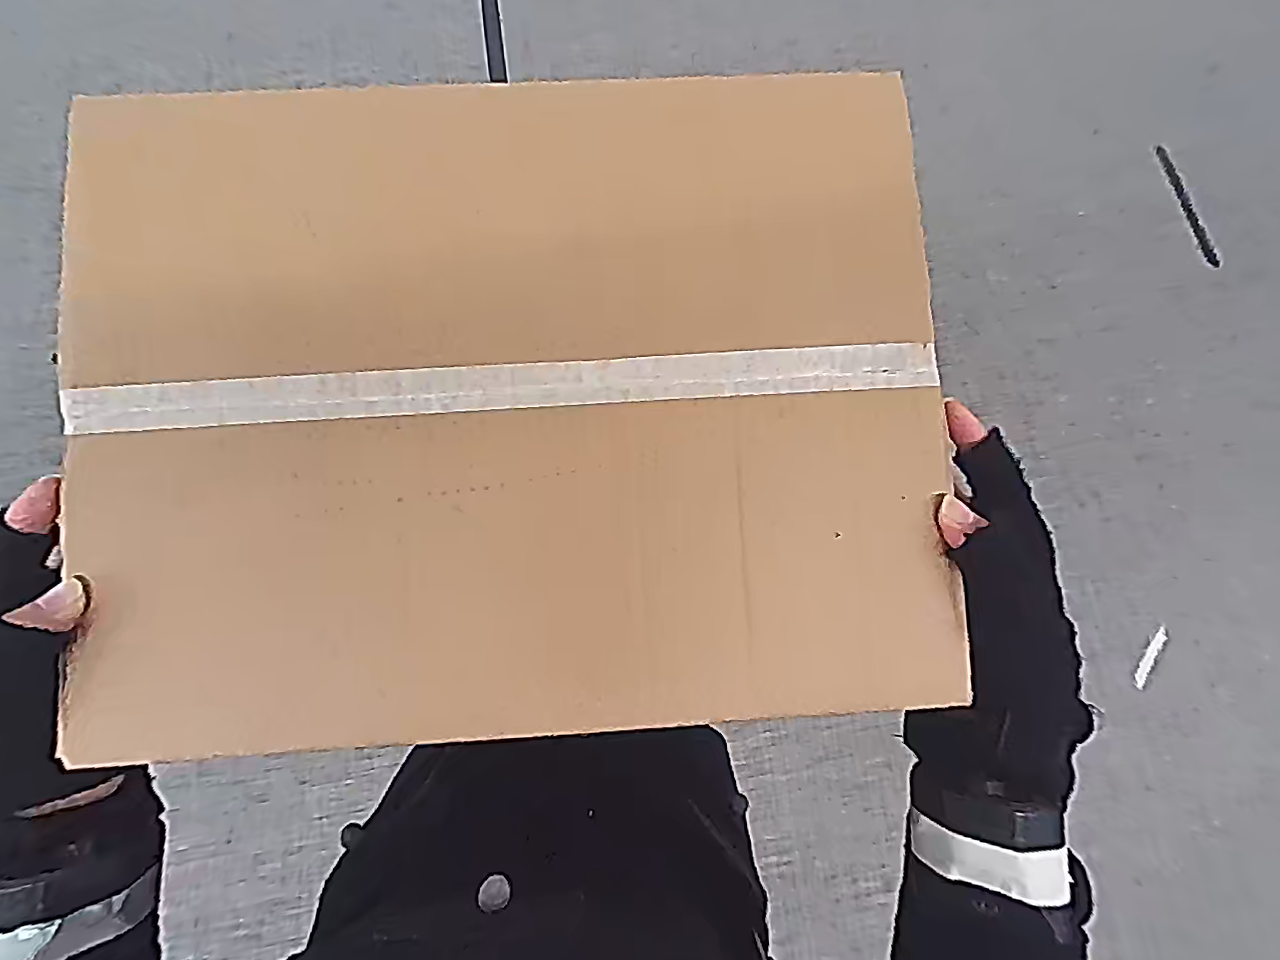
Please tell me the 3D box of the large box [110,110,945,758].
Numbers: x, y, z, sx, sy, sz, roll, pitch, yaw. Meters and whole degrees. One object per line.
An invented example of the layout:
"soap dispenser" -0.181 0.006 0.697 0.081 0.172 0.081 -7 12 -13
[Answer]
"large box" -0.063 -0.021 0.420 0.408 0.320 0.320 -4 85 -2
